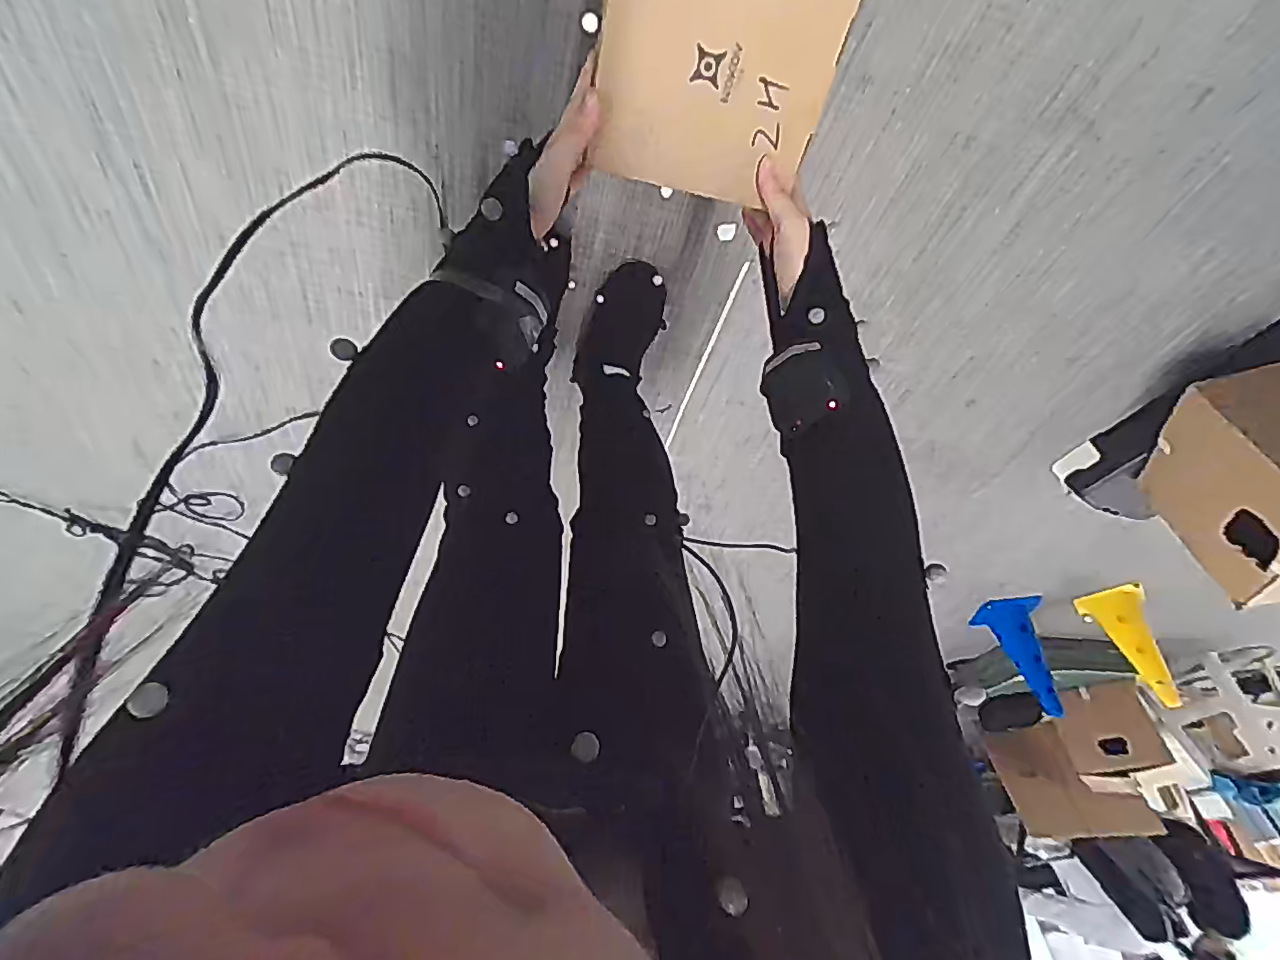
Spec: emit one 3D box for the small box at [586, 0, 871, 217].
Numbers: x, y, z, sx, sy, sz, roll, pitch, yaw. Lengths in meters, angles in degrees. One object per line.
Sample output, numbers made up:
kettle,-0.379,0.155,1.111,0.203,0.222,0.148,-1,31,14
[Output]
small box,0.054,-0.348,0.452,0.179,0.176,0.168,7,131,-12
